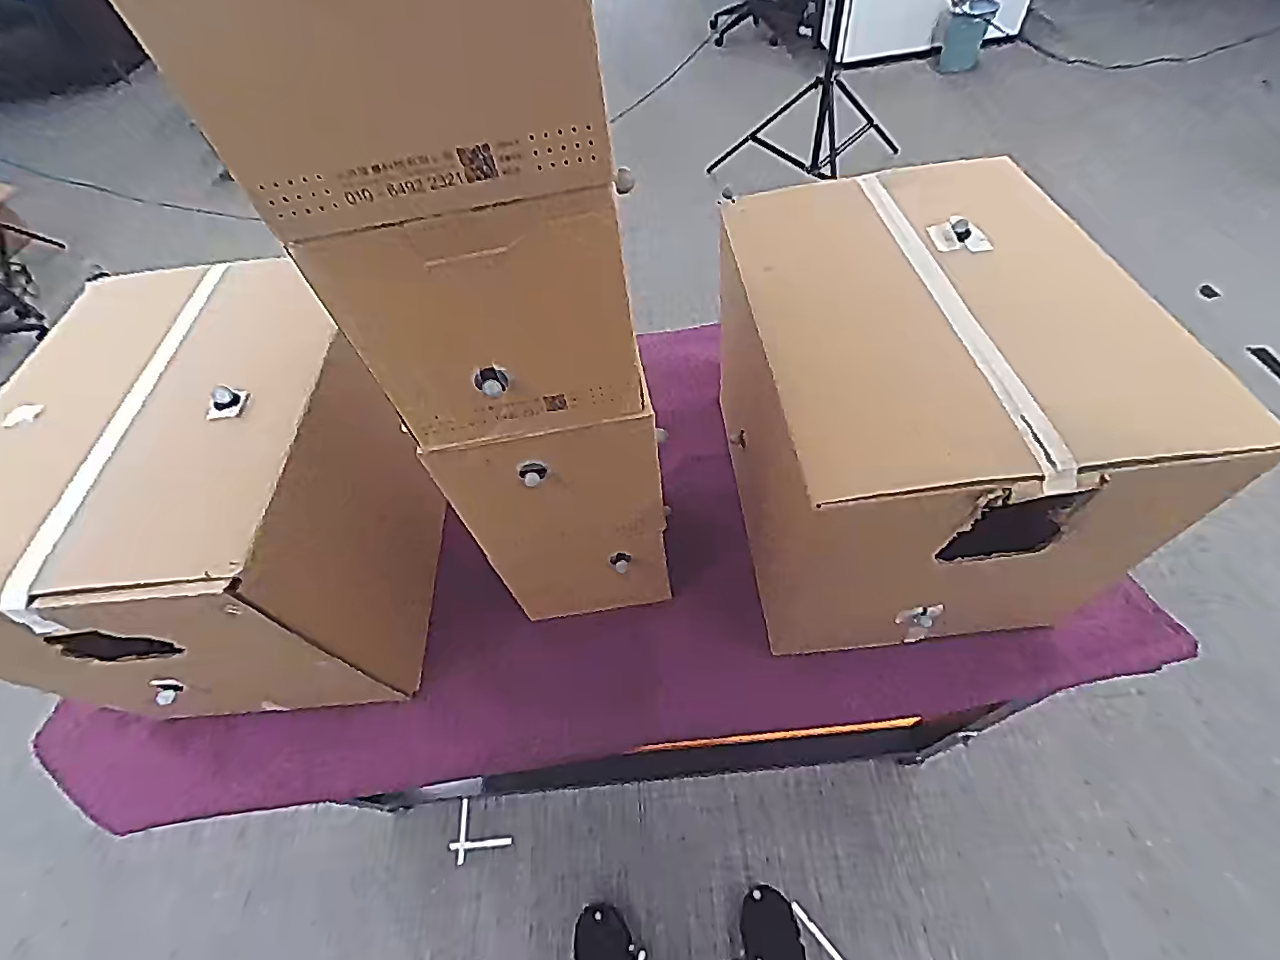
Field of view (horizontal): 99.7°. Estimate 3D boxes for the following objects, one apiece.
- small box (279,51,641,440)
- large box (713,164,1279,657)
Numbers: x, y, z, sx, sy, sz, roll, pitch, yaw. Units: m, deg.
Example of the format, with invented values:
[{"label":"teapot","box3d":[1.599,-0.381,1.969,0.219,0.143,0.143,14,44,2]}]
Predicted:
[{"label":"small box","box3d":[-0.097,-0.154,0.370,0.168,0.176,0.179,-11,55,-1]},{"label":"large box","box3d":[0.266,-0.070,0.583,0.320,0.320,0.408,-7,53,2]}]
